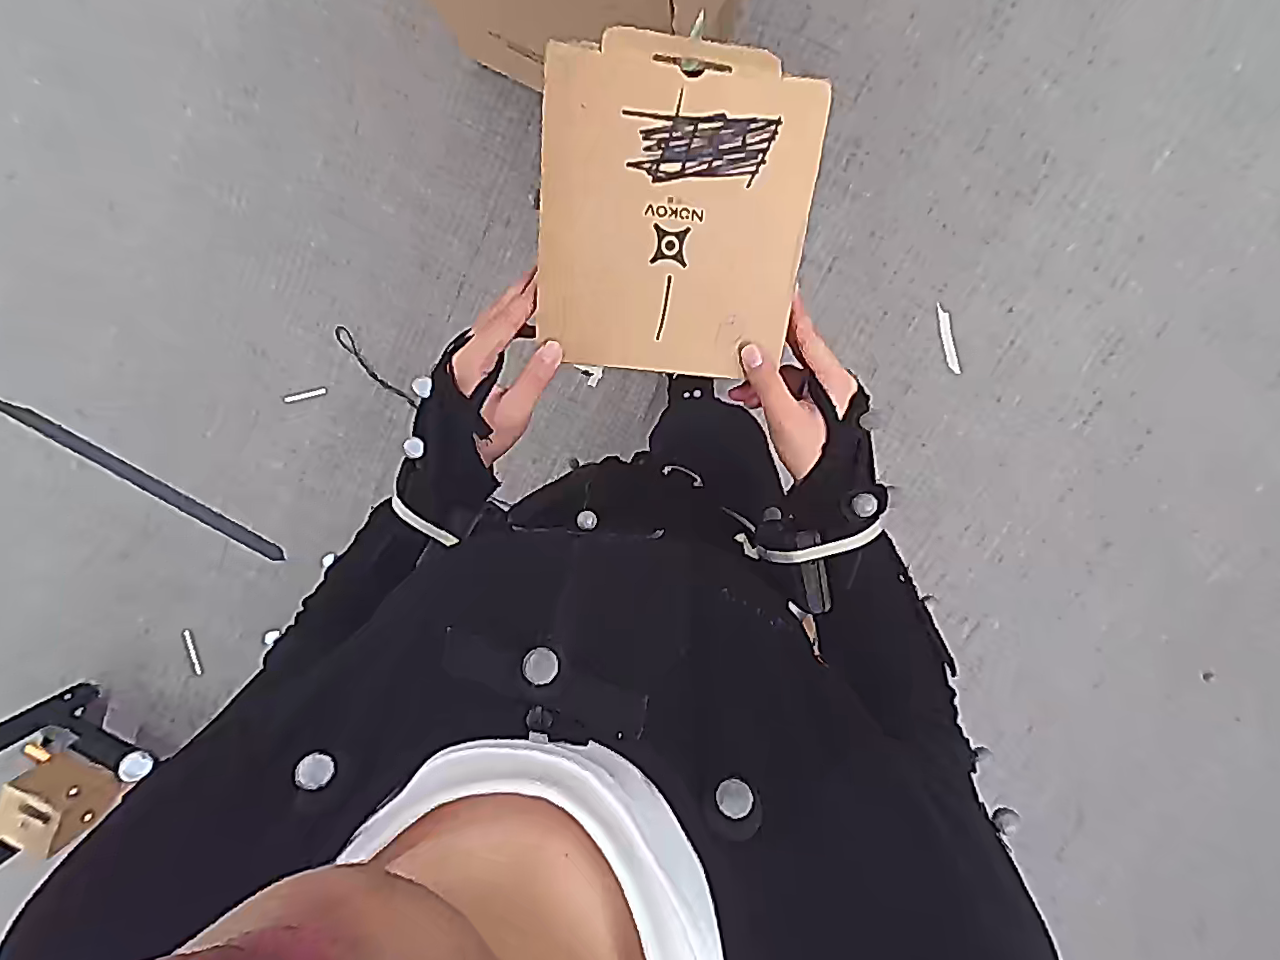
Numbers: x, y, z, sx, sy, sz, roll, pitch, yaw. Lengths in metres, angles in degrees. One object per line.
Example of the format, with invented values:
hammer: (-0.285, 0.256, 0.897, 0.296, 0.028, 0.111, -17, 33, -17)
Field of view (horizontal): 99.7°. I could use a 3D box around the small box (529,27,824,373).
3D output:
small box: (0.013, -0.188, 0.406, 0.168, 0.176, 0.179, 5, 111, -5)
